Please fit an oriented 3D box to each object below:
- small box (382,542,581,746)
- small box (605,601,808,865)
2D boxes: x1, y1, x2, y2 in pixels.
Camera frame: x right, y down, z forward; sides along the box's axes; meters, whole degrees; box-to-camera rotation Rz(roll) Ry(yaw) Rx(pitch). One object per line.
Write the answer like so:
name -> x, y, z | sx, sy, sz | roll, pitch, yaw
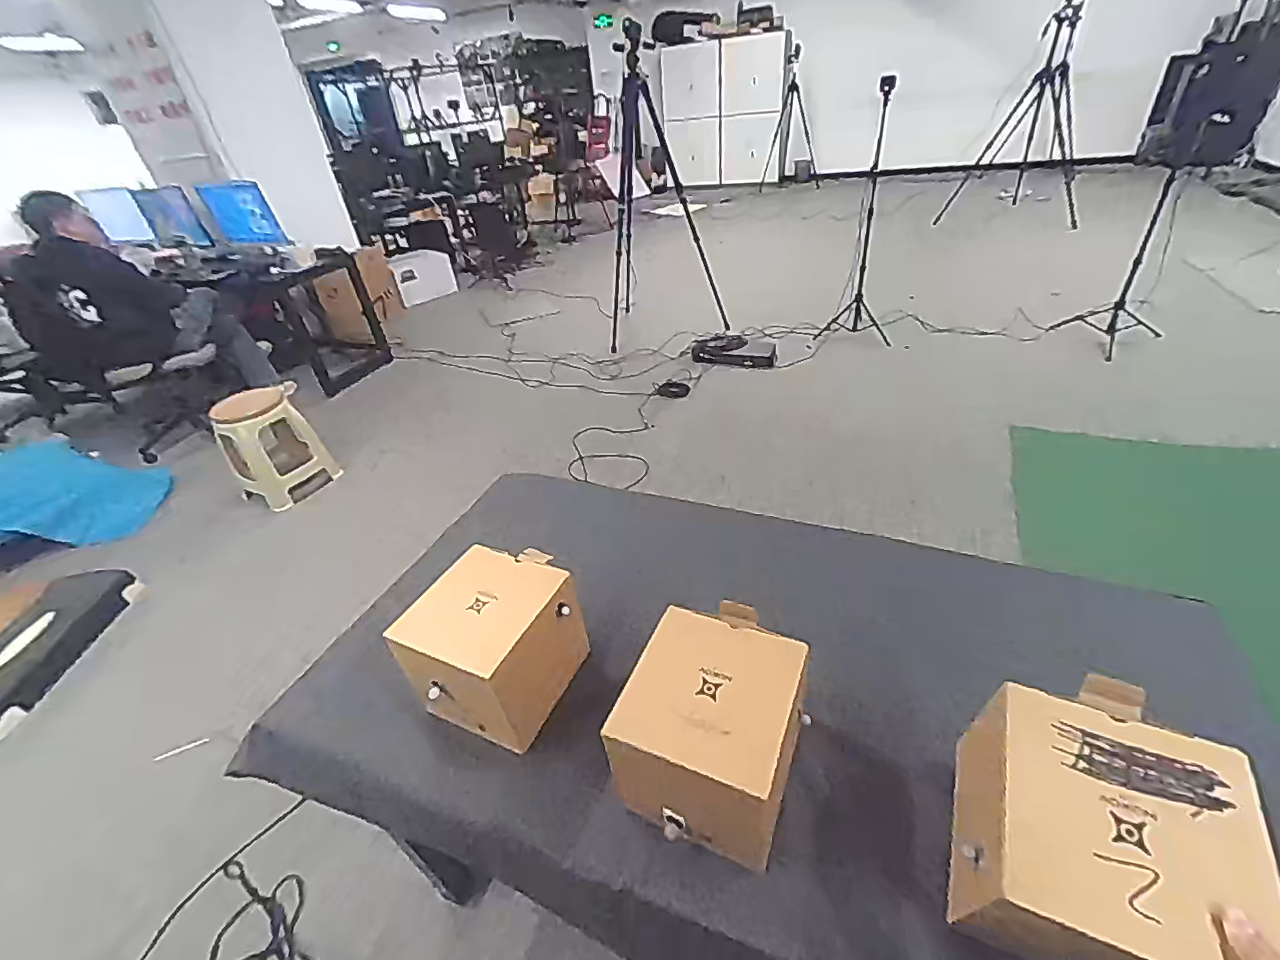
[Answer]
small box -> -0.193, 0.214, 0.718 | 0.168, 0.176, 0.179 | 11, 38, 23
small box -> 0.080, 0.270, 0.594 | 0.168, 0.176, 0.179 | 10, 39, 24
